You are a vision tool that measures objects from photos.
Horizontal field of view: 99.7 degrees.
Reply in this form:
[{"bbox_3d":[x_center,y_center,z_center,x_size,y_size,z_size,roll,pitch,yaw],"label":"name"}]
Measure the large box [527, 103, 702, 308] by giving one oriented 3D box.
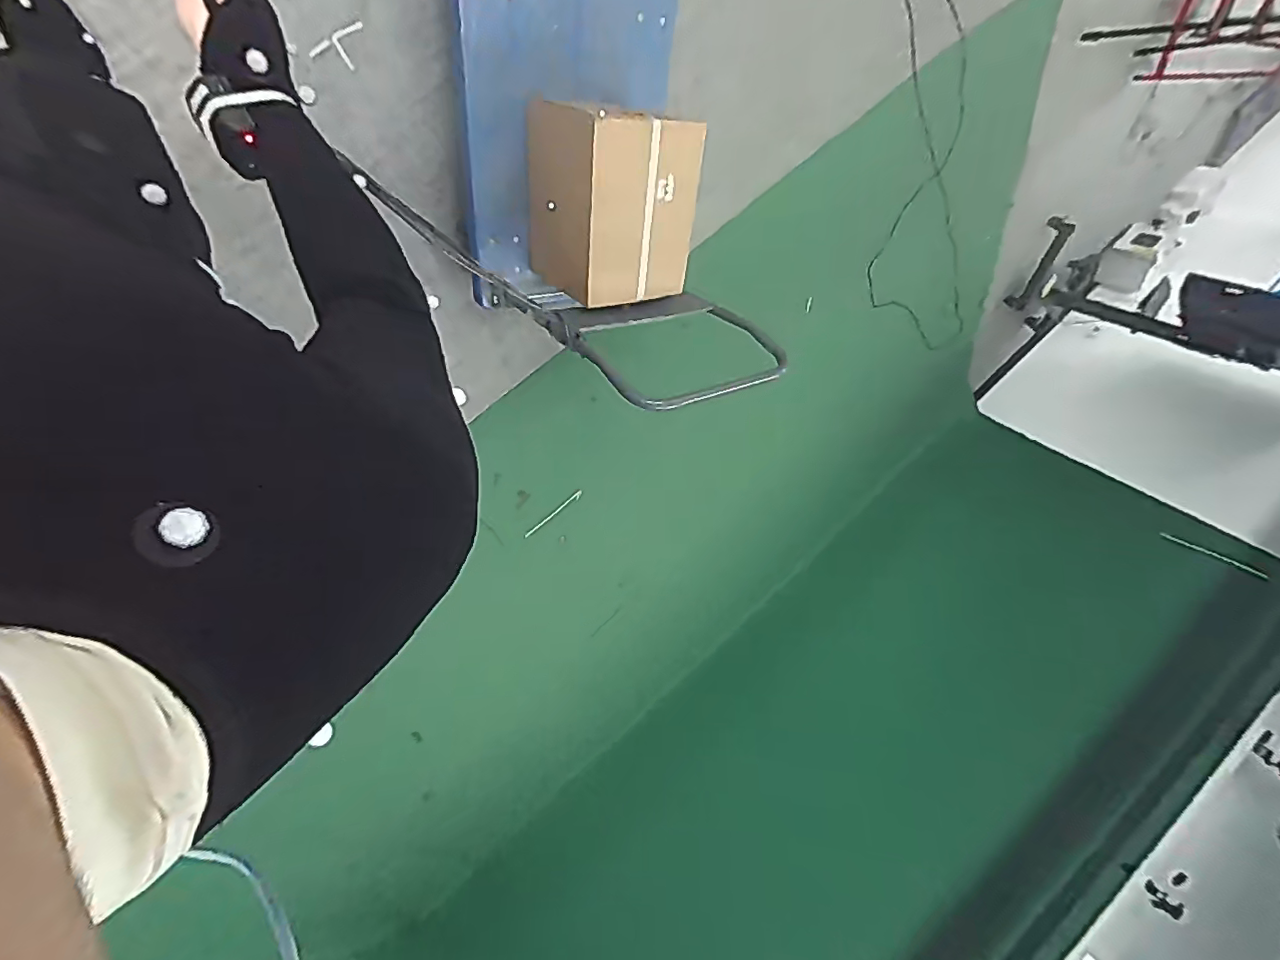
[{"bbox_3d":[-0.079,-0.703,1.385,0.320,0.320,0.408,-20,134,-31],"label":"large box"}]
